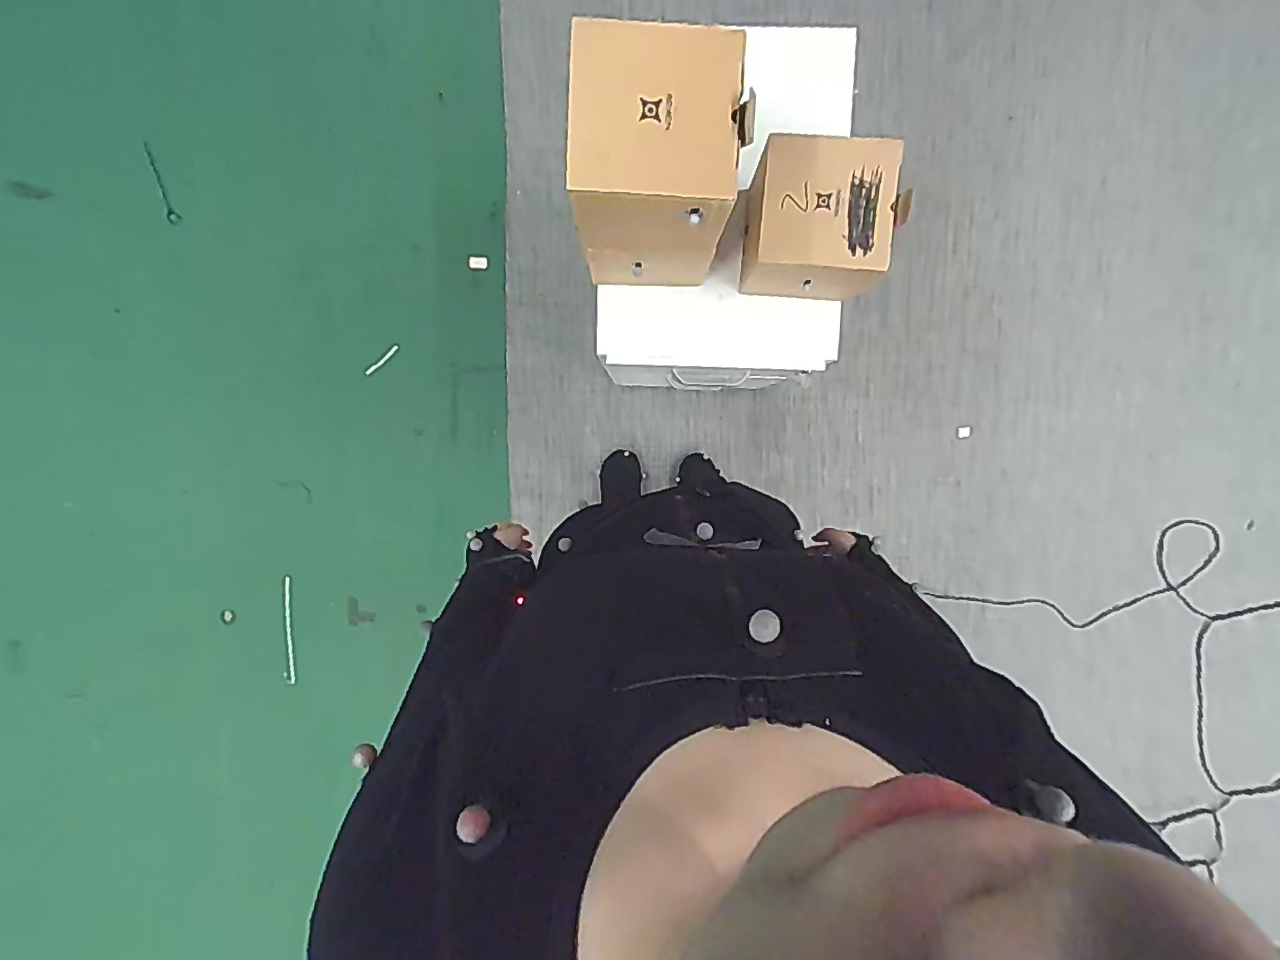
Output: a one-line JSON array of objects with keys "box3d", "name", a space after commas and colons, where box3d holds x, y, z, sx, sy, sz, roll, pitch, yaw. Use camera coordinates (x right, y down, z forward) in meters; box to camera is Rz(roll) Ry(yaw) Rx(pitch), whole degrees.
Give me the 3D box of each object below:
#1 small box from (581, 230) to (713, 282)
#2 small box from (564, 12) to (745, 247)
[{"box3d": [0.011, -0.393, 0.784, 0.179, 0.176, 0.168, 1, 95, 0], "name": "small box"}, {"box3d": [0.012, -0.382, 0.621, 0.179, 0.176, 0.168, 3, 94, -3], "name": "small box"}]
